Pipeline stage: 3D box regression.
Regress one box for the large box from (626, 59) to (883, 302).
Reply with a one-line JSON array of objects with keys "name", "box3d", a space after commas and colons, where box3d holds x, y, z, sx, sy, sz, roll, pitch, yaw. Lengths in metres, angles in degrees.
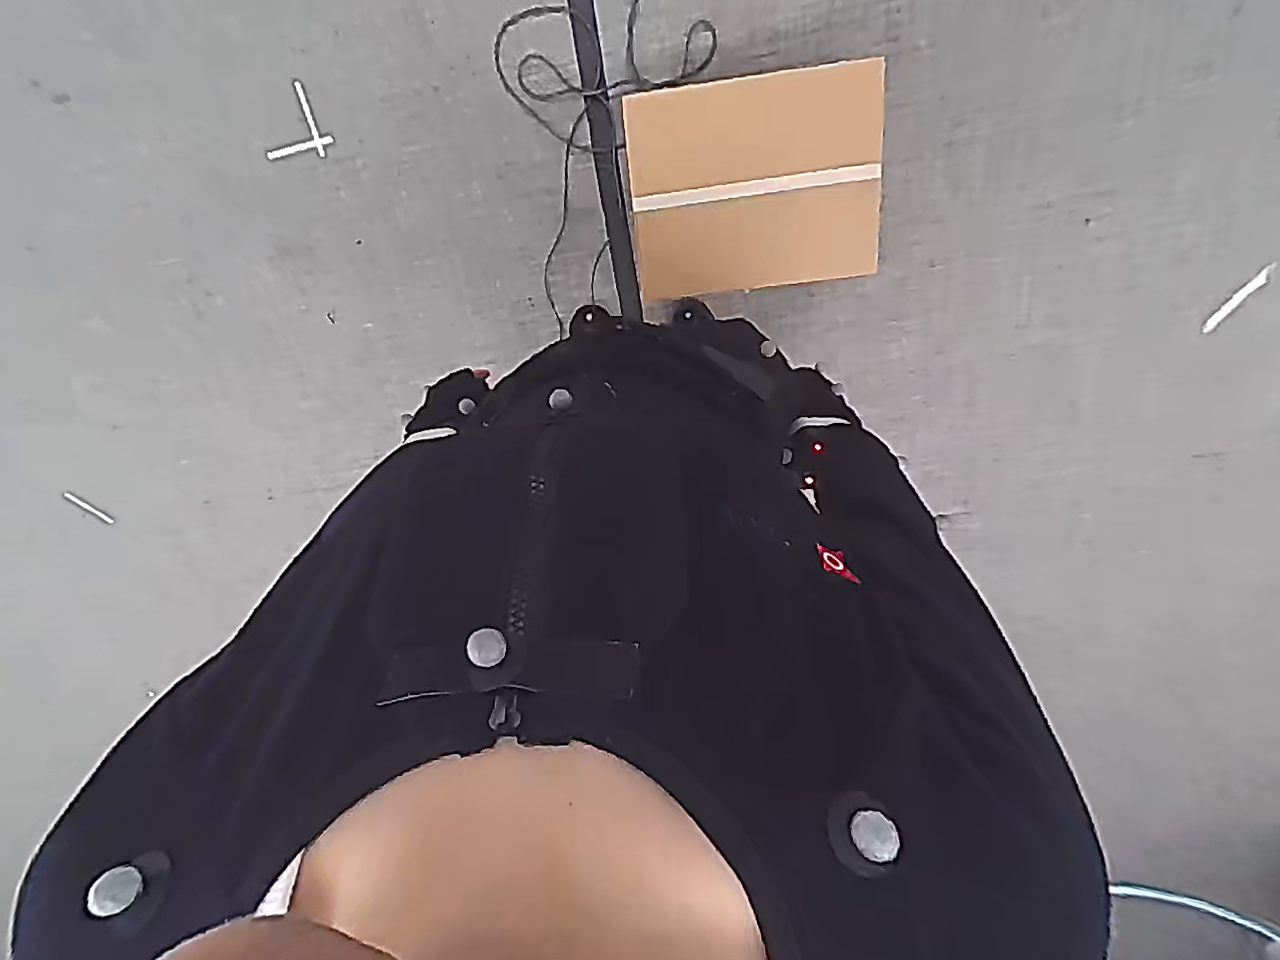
[{"name": "large box", "box3d": [0.199, -0.536, 1.033, 0.408, 0.320, 0.320, -5, 113, 5]}]
